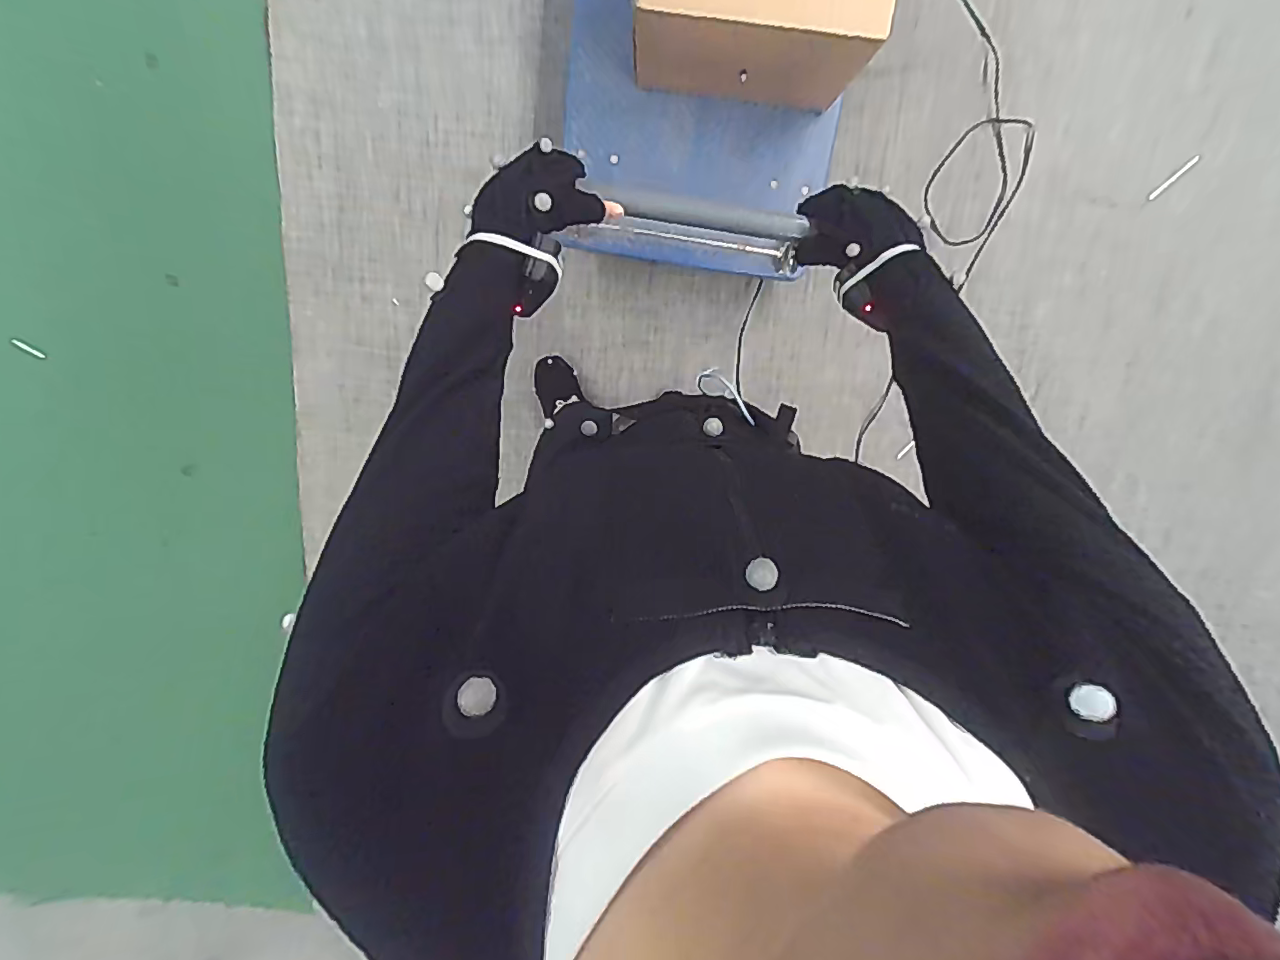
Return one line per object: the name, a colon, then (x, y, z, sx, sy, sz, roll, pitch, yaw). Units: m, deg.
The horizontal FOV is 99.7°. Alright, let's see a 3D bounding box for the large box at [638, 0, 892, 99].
large box: (0.213, -0.915, 0.956, 0.408, 0.320, 0.320, 6, 107, 0)
